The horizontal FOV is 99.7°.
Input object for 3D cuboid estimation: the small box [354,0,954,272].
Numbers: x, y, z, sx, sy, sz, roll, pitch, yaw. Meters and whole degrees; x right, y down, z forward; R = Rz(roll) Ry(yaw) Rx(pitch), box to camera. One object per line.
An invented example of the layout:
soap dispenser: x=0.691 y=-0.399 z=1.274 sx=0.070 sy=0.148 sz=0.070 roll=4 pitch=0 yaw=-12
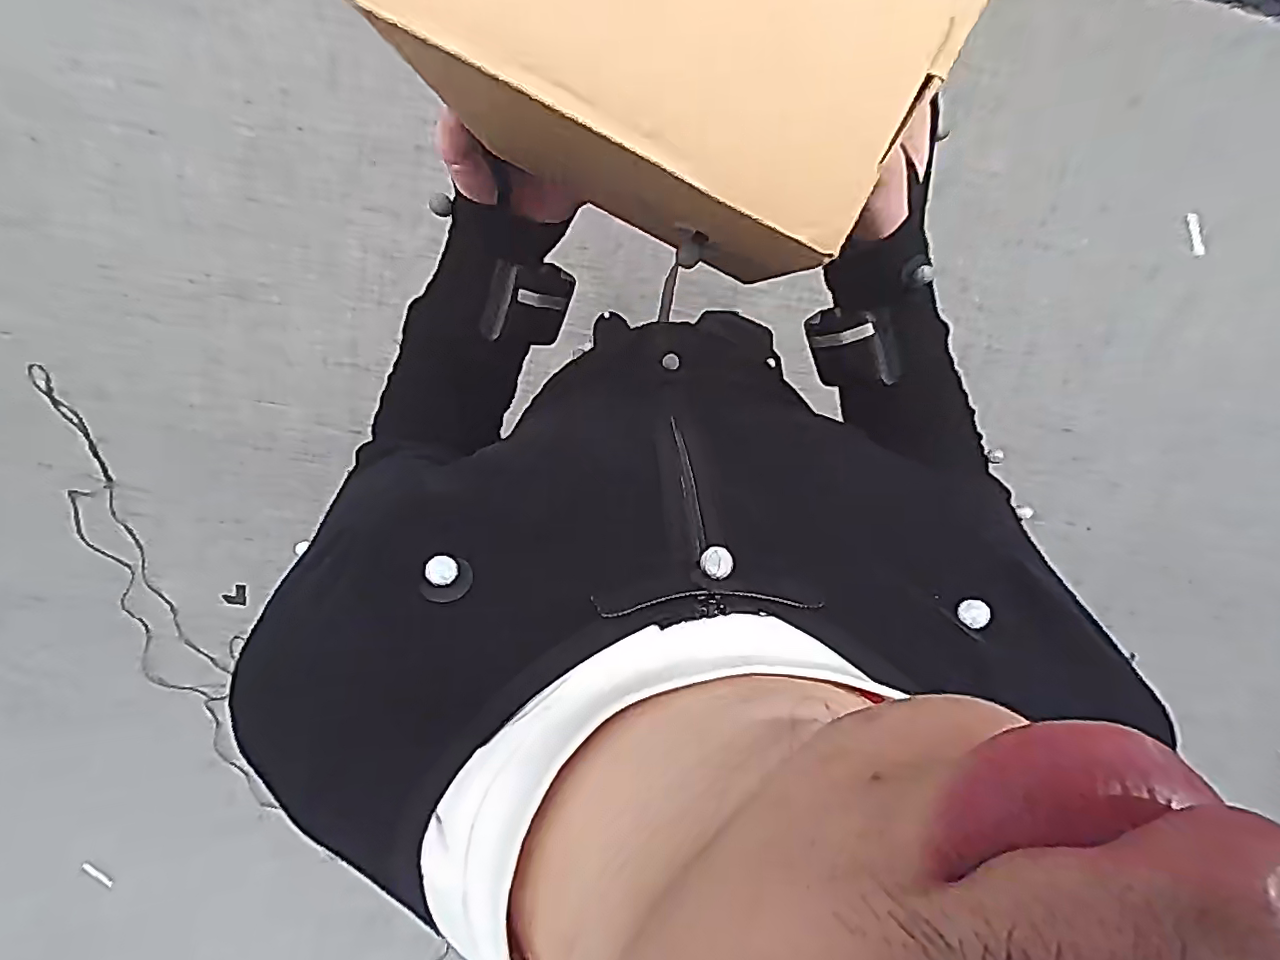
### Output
small box: x=0.020 y=-0.207 z=0.238 sx=0.179 sy=0.176 sz=0.168 roll=25 pitch=106 yaw=-6
